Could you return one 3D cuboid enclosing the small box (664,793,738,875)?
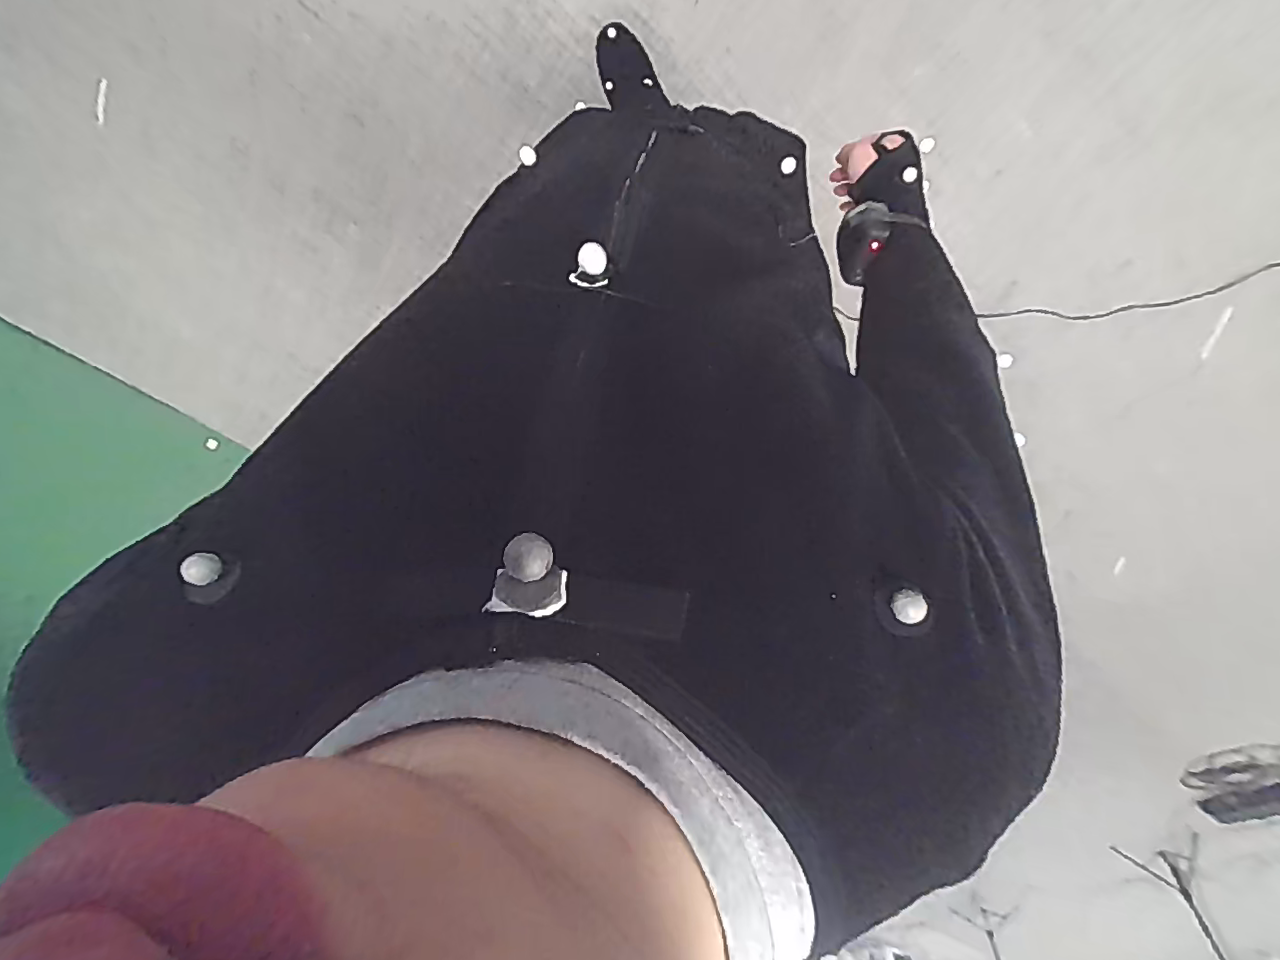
[{"bbox_3d":[0.194,1.135,1.740,0.168,0.176,0.179,30,126,-16],"label":"small box"}]
